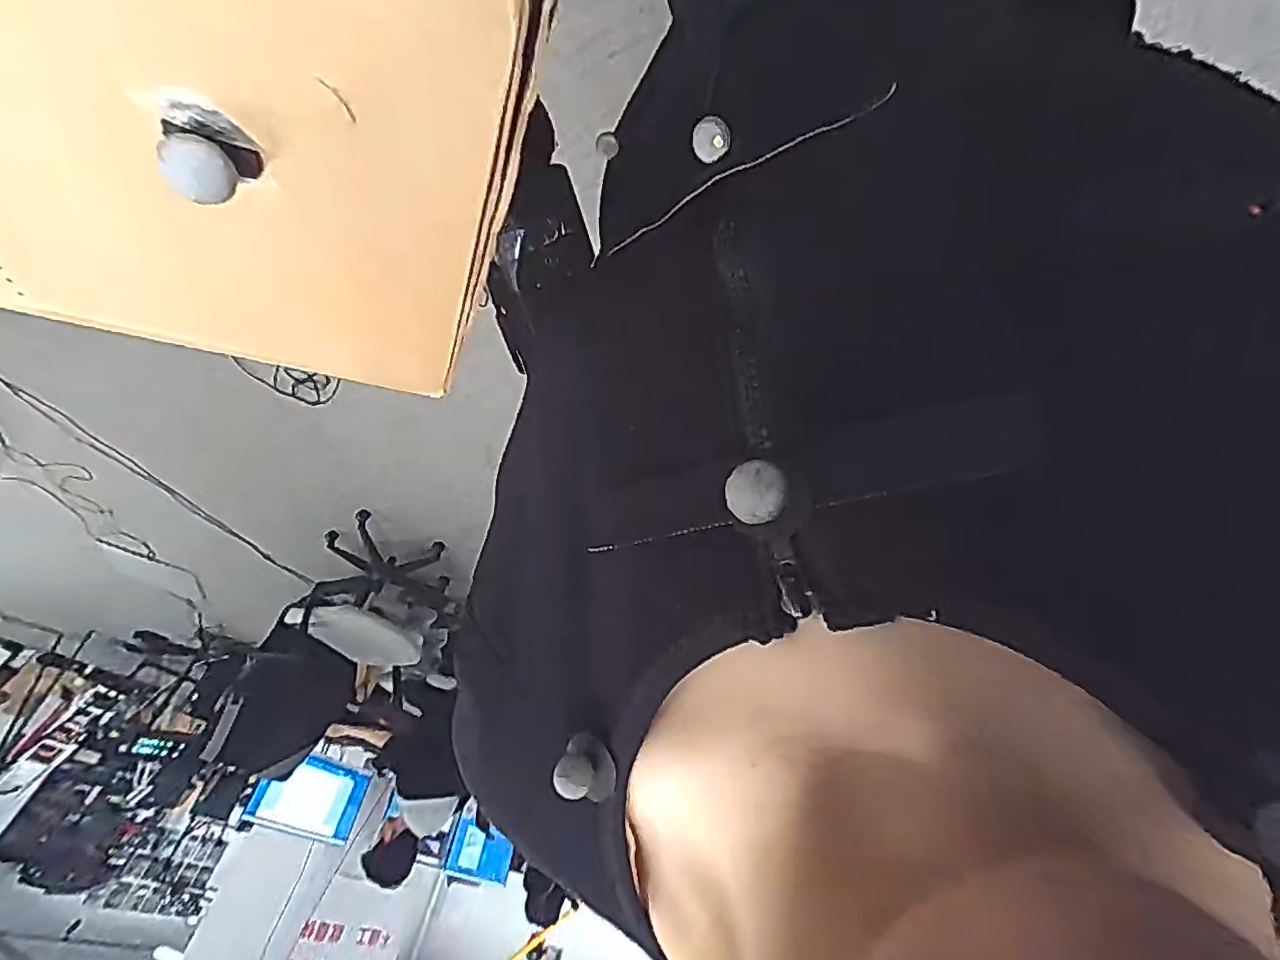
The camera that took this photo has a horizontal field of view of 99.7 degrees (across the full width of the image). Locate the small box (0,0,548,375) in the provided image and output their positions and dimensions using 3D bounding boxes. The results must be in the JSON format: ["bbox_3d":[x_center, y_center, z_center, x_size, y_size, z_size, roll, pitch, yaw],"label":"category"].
[{"bbox_3d":[-0.128,-0.162,0.180,0.176,0.168,0.179,10,155,-22],"label":"small box"}]
